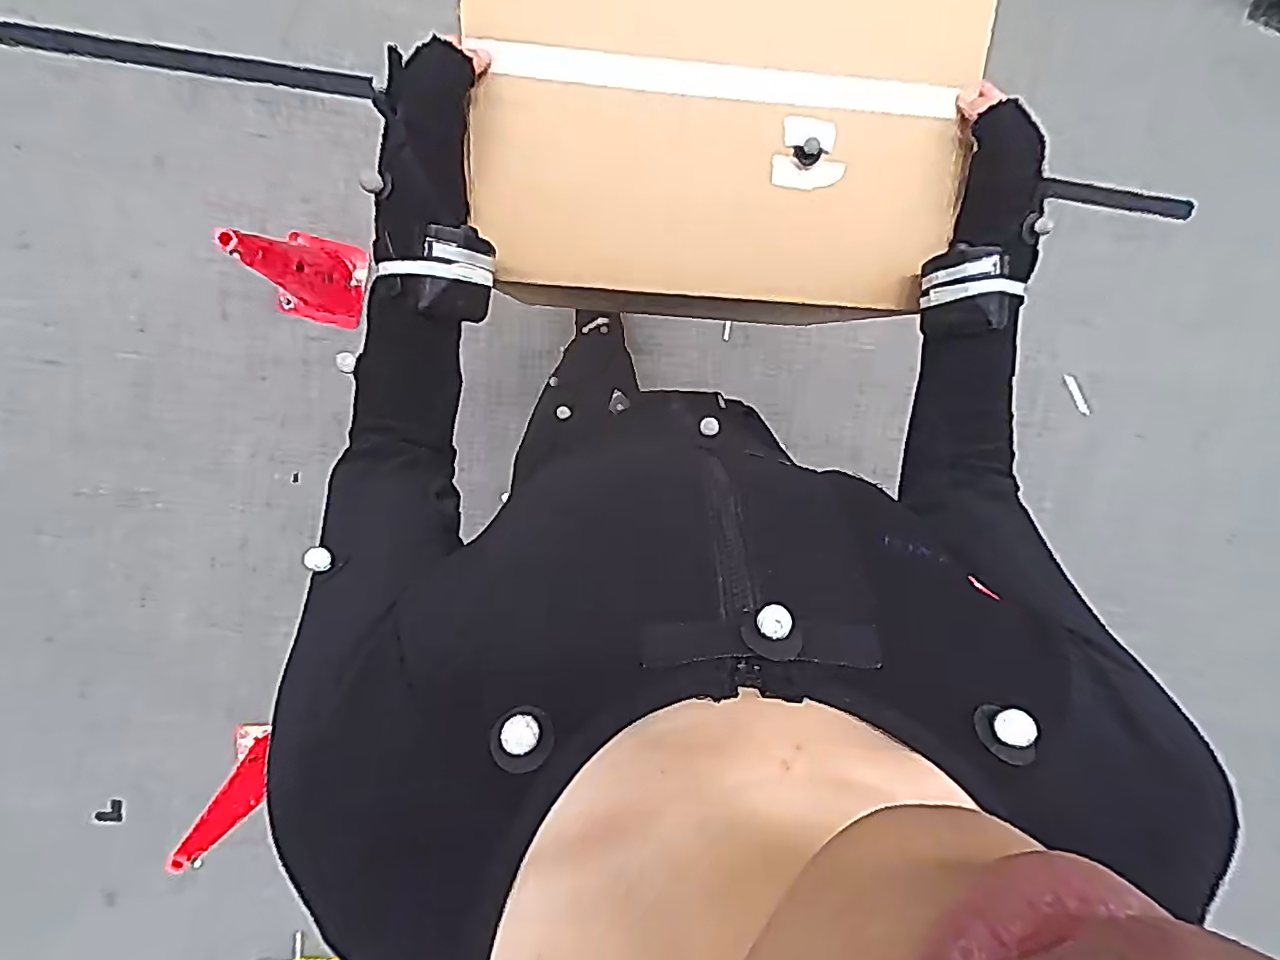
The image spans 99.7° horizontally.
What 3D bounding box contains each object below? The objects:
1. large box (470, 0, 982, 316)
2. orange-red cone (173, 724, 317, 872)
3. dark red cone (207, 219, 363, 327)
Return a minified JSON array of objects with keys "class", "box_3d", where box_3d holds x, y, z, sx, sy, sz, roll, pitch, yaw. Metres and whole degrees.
[{"class":"large box","box_3d":[0.056,-0.351,0.570,0.408,0.320,0.320,2,104,-6]},{"class":"orange-red cone","box_3d":[-0.992,0.802,1.334,0.198,0.360,0.199,4,99,-3]},{"class":"dark red cone","box_3d":[-0.766,-0.465,1.146,0.201,0.394,0.202,12,97,-7]}]
